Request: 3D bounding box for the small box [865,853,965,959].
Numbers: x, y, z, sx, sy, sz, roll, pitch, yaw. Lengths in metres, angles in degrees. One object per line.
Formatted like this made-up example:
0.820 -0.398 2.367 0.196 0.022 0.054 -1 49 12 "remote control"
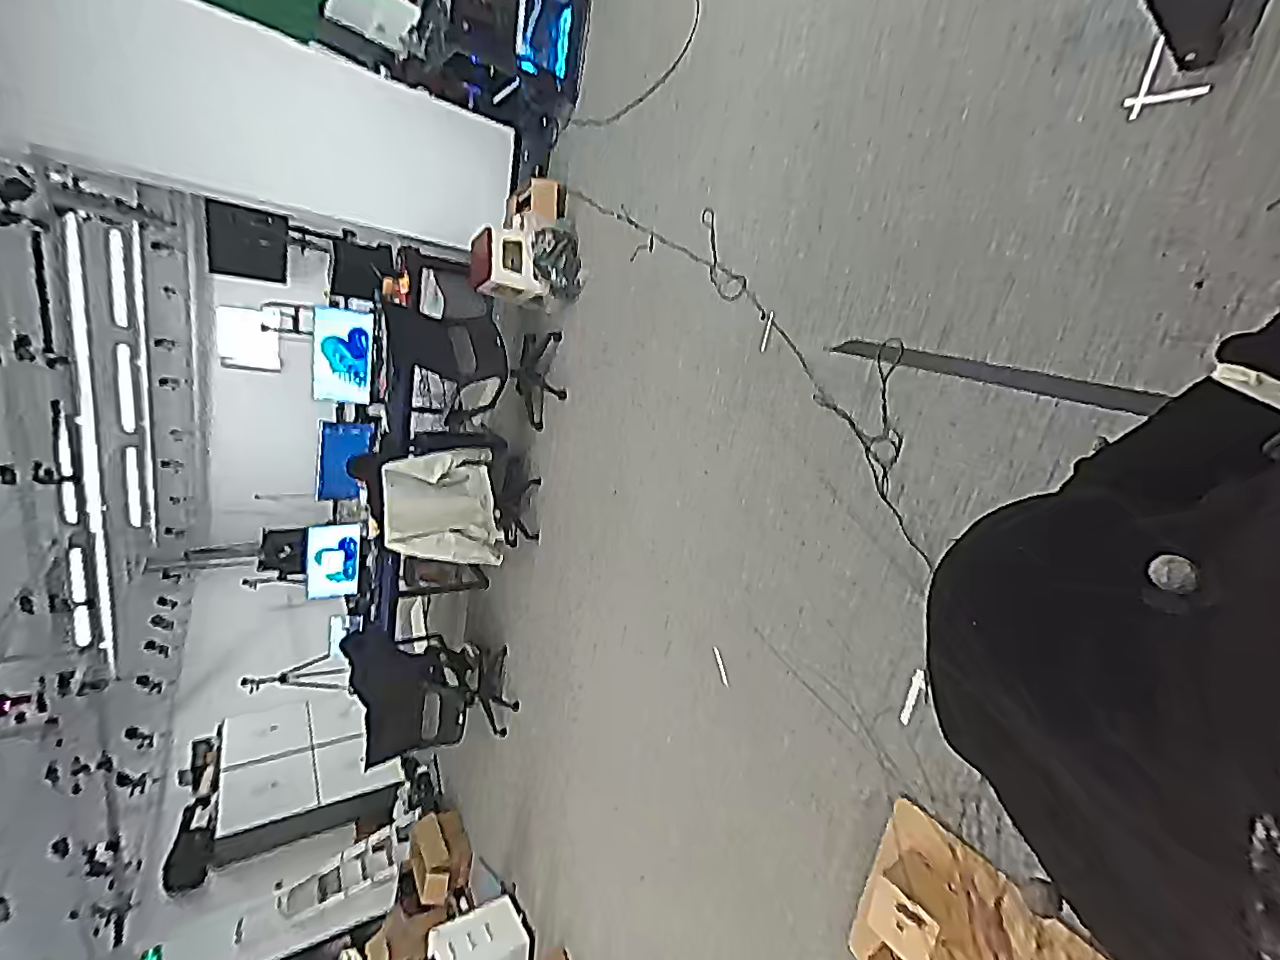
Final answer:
0.739 1.157 1.448 0.168 0.176 0.179 23 109 52 "small box"
